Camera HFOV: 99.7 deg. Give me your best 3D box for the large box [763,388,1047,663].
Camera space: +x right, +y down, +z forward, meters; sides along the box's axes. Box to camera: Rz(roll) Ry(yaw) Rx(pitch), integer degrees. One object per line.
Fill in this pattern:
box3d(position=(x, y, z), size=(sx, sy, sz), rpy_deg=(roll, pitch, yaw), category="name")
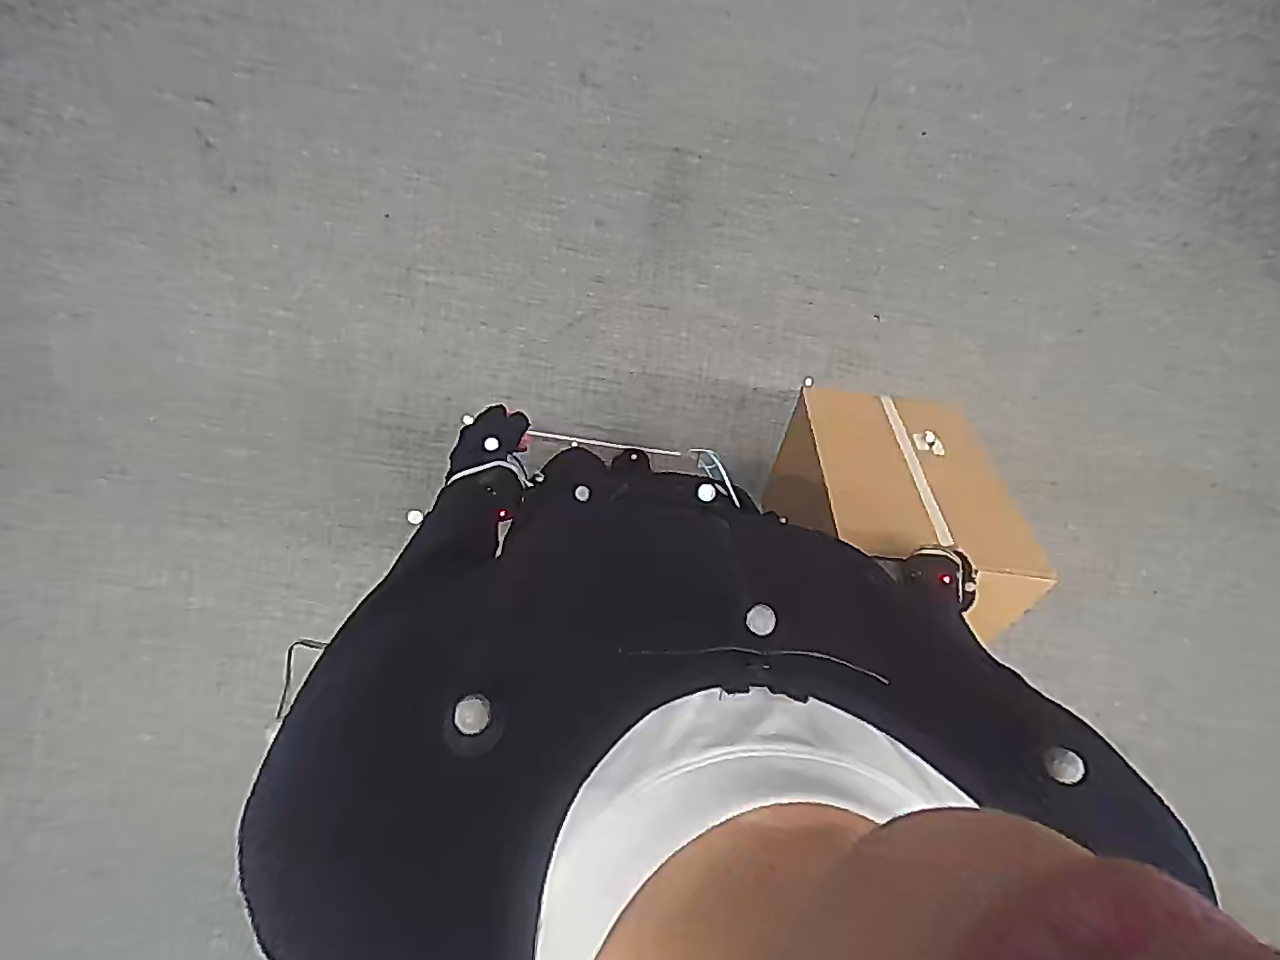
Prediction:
box3d(position=(0.433, 0.081, 1.013), size=(0.320, 0.408, 0.320), rpy_deg=(7, 135, -2), category="large box")
